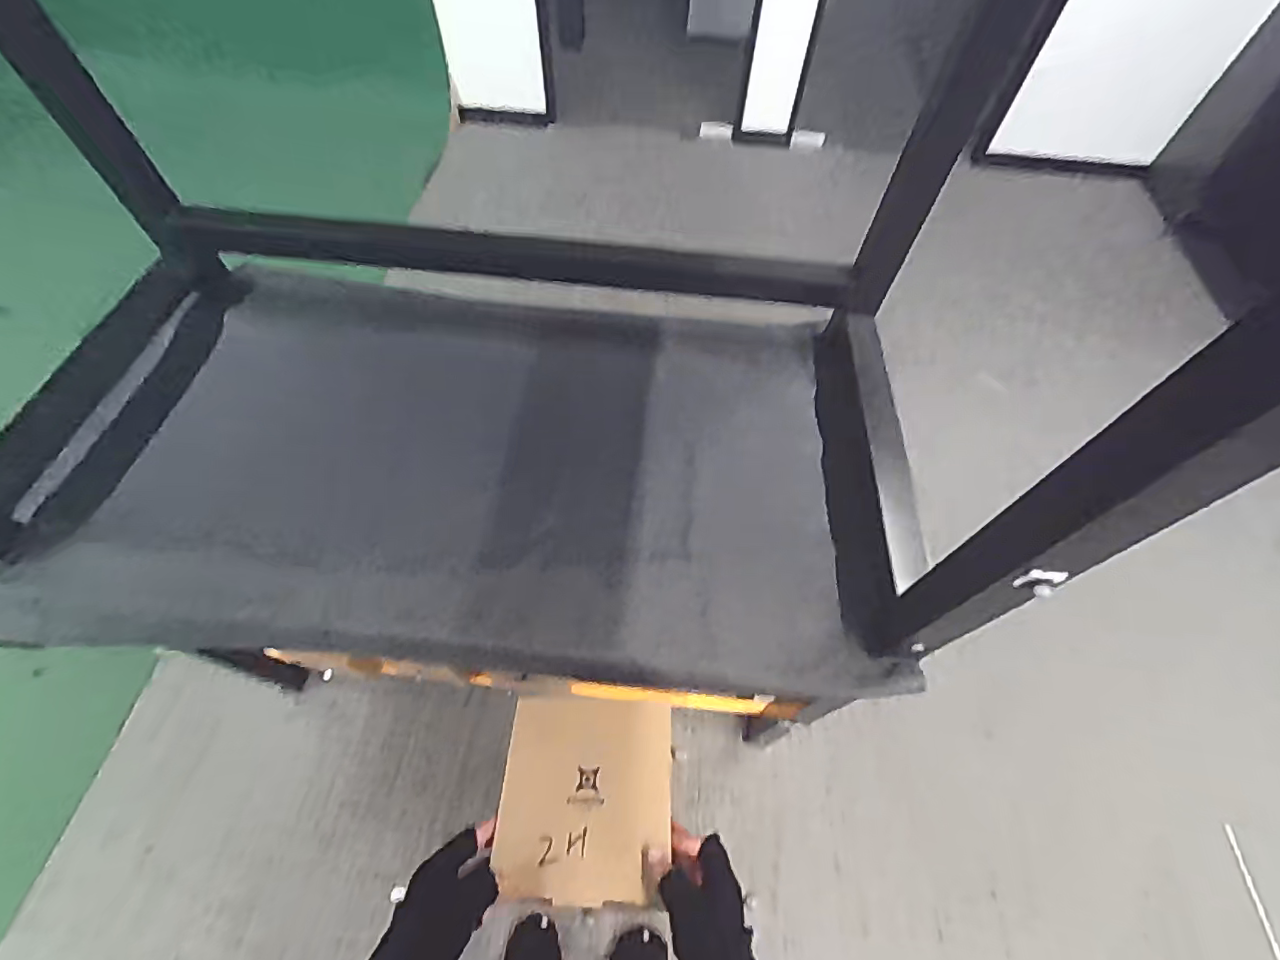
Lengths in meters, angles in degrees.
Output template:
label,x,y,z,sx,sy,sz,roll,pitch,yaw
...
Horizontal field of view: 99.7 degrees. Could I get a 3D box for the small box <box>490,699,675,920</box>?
label,x,y,z,sx,sy,sz,roll,pitch,yaw
small box,-0.046,0.357,0.587,0.168,0.176,0.179,-1,49,3
